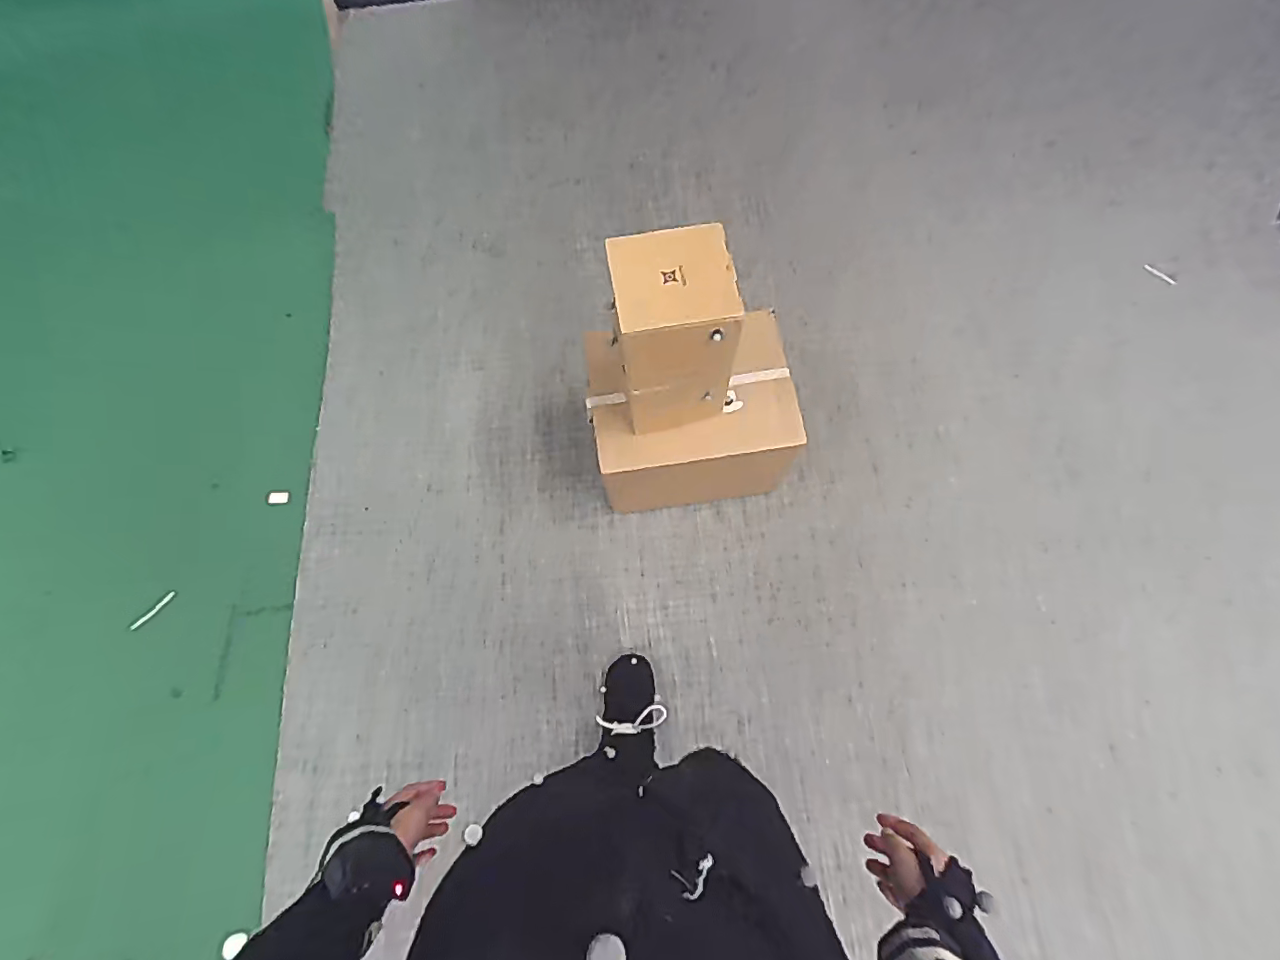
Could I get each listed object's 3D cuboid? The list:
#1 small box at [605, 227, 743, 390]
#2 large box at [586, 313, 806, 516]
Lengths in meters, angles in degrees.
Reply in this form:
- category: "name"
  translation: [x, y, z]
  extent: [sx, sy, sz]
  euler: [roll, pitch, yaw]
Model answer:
- category: "small box"
  translation: [0.049, -0.257, 0.842]
  extent: [0.179, 0.176, 0.168]
  euler: [-9, 71, -2]
- category: "large box"
  translation: [0.107, -0.131, 1.227]
  extent: [0.408, 0.320, 0.320]
  euler: [-9, 72, -1]
